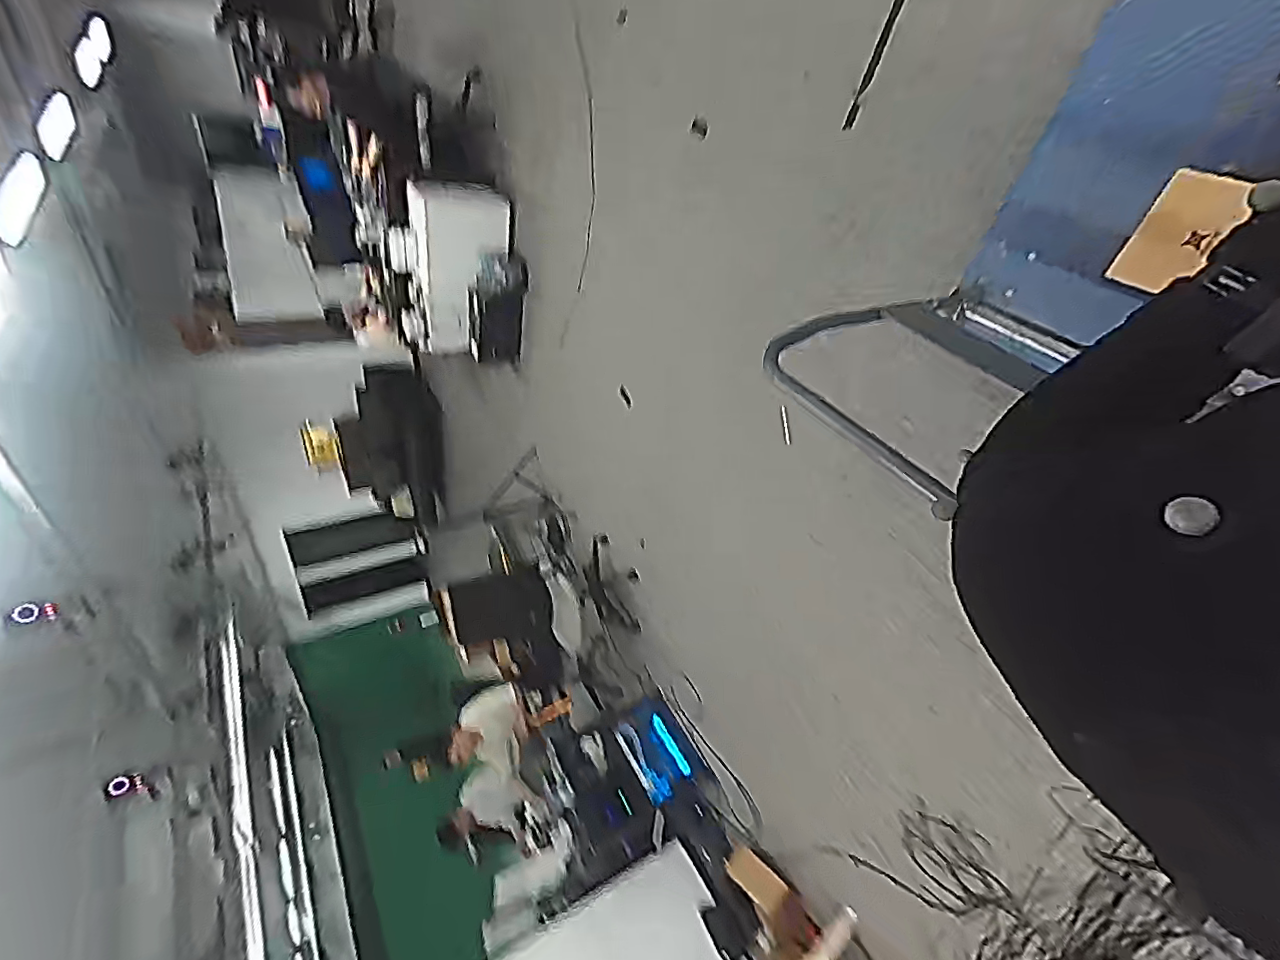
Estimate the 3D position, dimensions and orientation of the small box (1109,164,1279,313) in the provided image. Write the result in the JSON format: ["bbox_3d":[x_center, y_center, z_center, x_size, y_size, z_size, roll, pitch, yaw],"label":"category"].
[{"bbox_3d":[0.910,-0.376,0.846,0.179,0.176,0.168,49,141,37],"label":"small box"}]
